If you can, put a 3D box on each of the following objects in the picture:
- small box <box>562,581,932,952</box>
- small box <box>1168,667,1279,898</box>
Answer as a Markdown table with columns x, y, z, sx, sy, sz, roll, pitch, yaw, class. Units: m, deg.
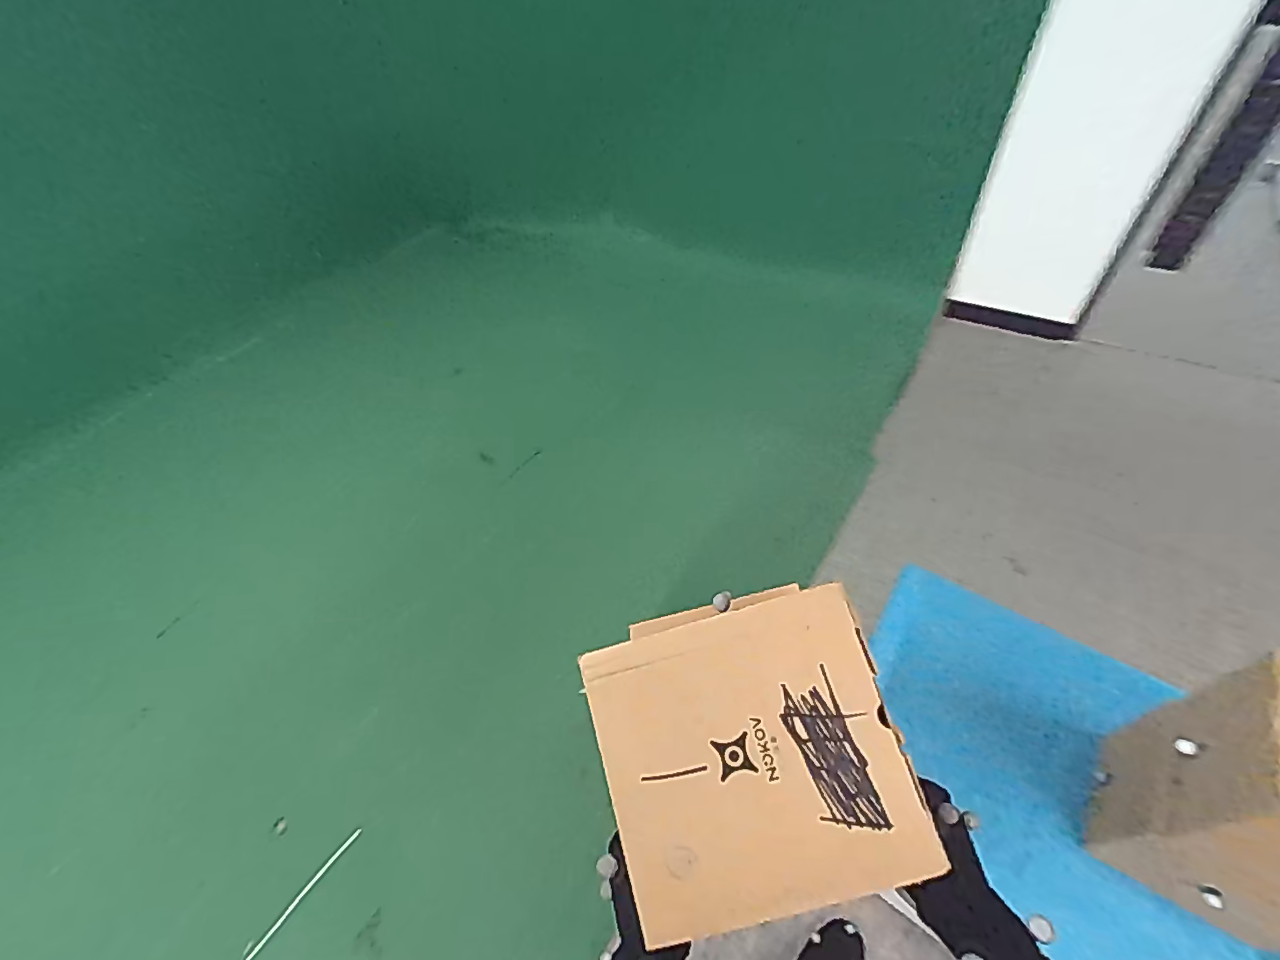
| x | y | z | sx | sy | sz | roll | pitch | yaw | class |
| --- | --- | --- | --- | --- | --- | --- | --- | --- | --- |
| 0.063 | 0.178 | 0.388 | 0.179 | 0.176 | 0.168 | -17 | 73 | 4 | small box |
| 0.651 | 0.298 | 0.496 | 0.179 | 0.176 | 0.168 | 24 | 57 | 27 | small box |
